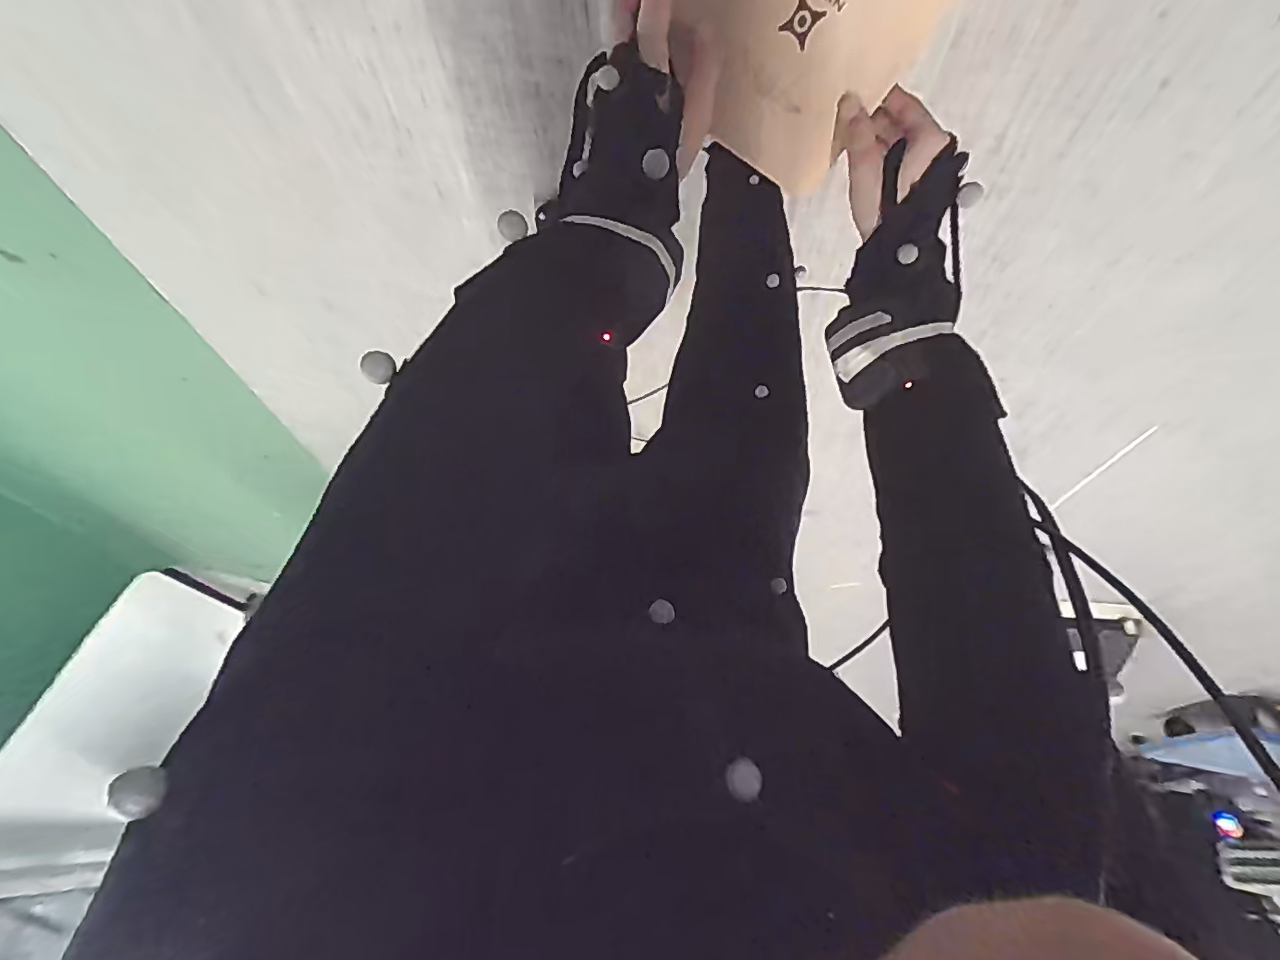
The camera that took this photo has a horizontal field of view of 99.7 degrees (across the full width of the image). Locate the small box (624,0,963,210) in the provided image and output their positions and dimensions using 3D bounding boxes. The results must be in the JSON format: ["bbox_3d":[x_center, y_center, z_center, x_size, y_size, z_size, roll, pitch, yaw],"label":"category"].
[{"bbox_3d":[0.096,-0.350,0.397,0.168,0.176,0.179,20,134,-25],"label":"small box"}]
